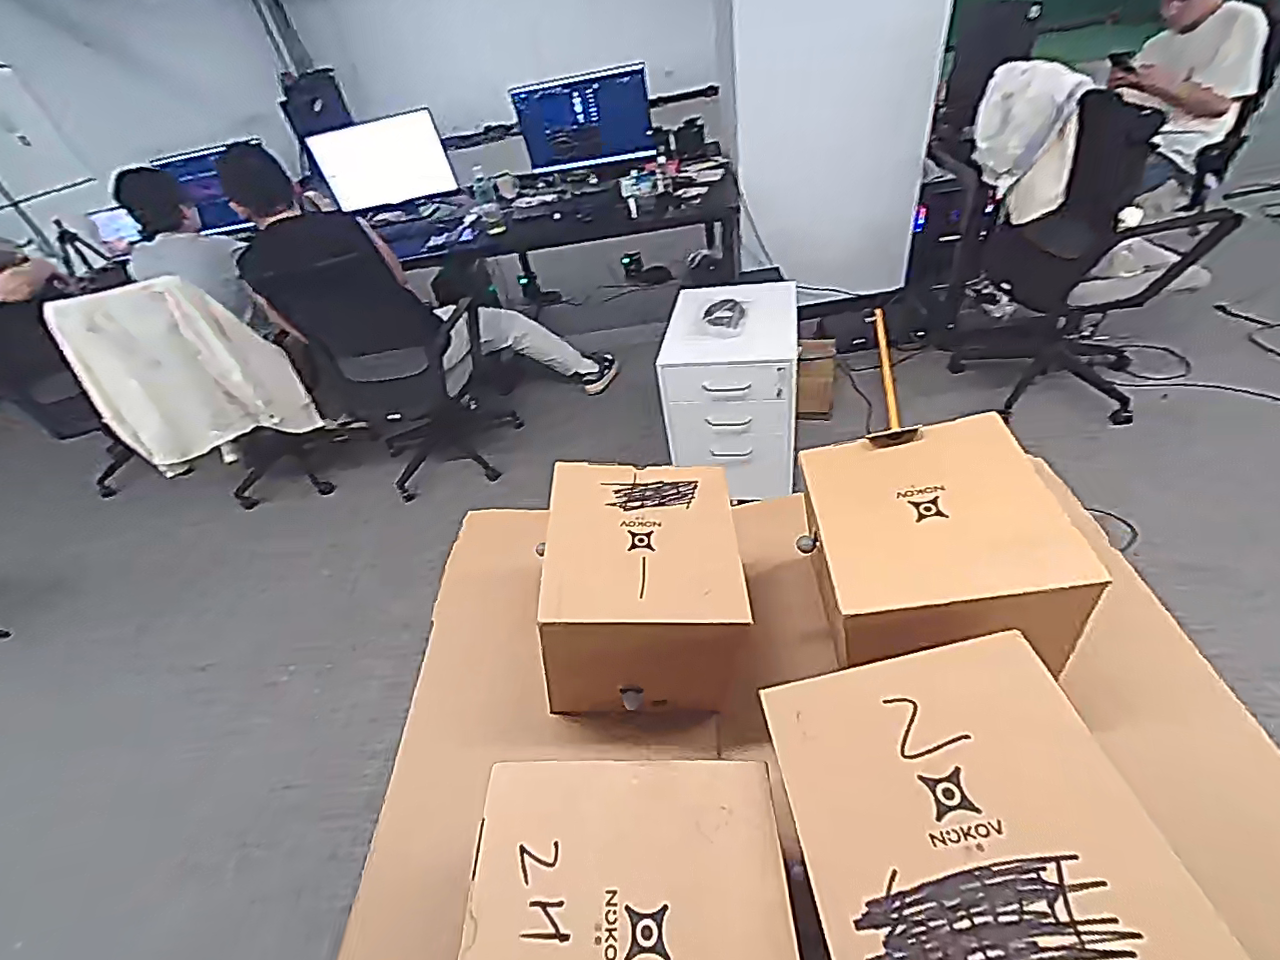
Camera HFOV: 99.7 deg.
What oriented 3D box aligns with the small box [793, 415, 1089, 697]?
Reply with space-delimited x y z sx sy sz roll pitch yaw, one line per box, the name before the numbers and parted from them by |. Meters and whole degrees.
small box | 0.241 0.075 0.476 0.168 0.176 0.179 -12 42 13
